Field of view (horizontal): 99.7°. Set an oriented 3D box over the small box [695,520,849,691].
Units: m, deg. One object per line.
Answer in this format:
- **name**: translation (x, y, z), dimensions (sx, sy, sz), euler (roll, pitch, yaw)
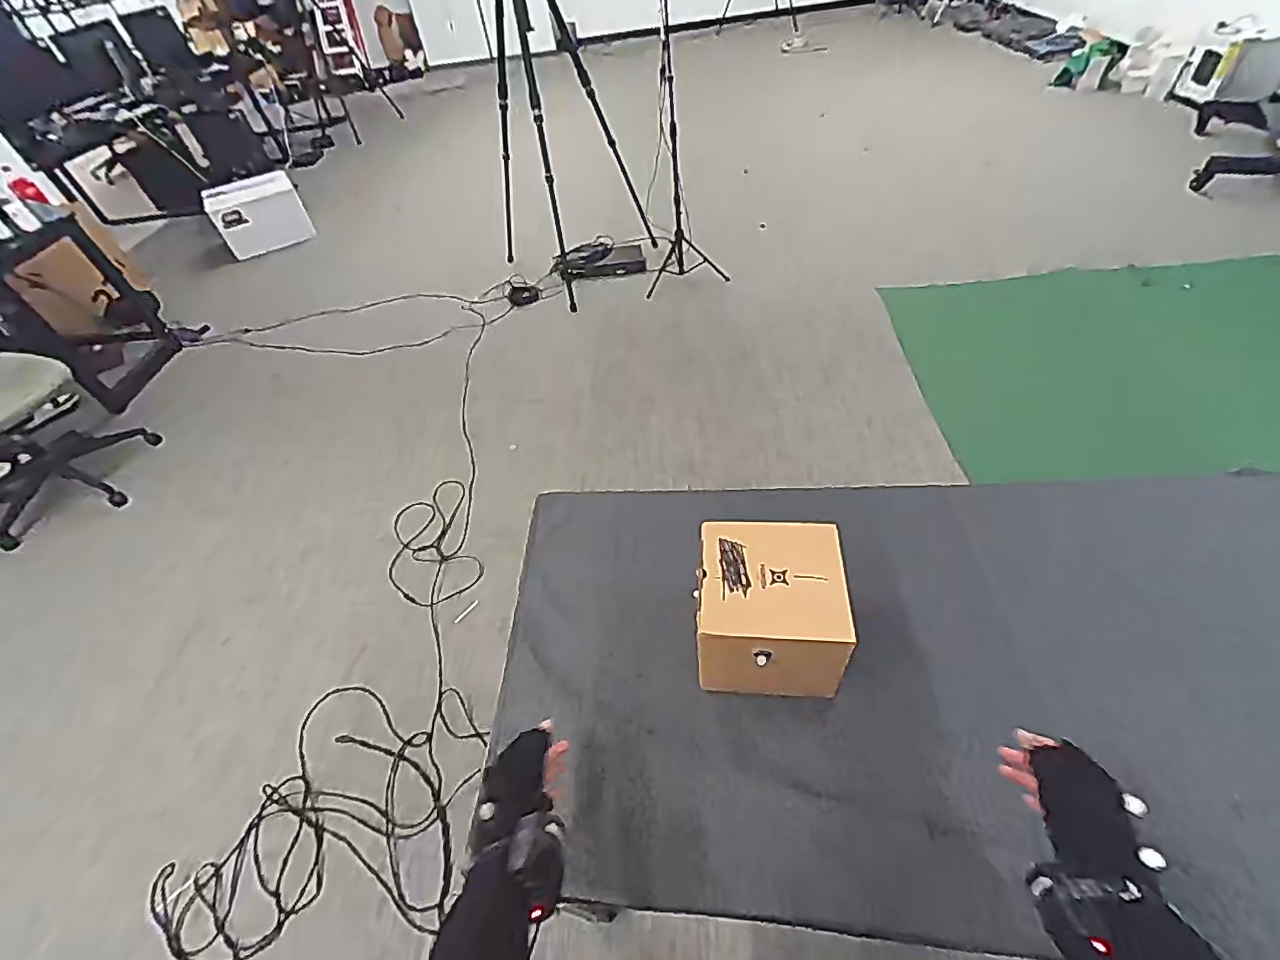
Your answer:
- **small box**: translation (0.168, 0.171, 0.731), dimensions (0.179, 0.176, 0.168), euler (1, 48, 8)
